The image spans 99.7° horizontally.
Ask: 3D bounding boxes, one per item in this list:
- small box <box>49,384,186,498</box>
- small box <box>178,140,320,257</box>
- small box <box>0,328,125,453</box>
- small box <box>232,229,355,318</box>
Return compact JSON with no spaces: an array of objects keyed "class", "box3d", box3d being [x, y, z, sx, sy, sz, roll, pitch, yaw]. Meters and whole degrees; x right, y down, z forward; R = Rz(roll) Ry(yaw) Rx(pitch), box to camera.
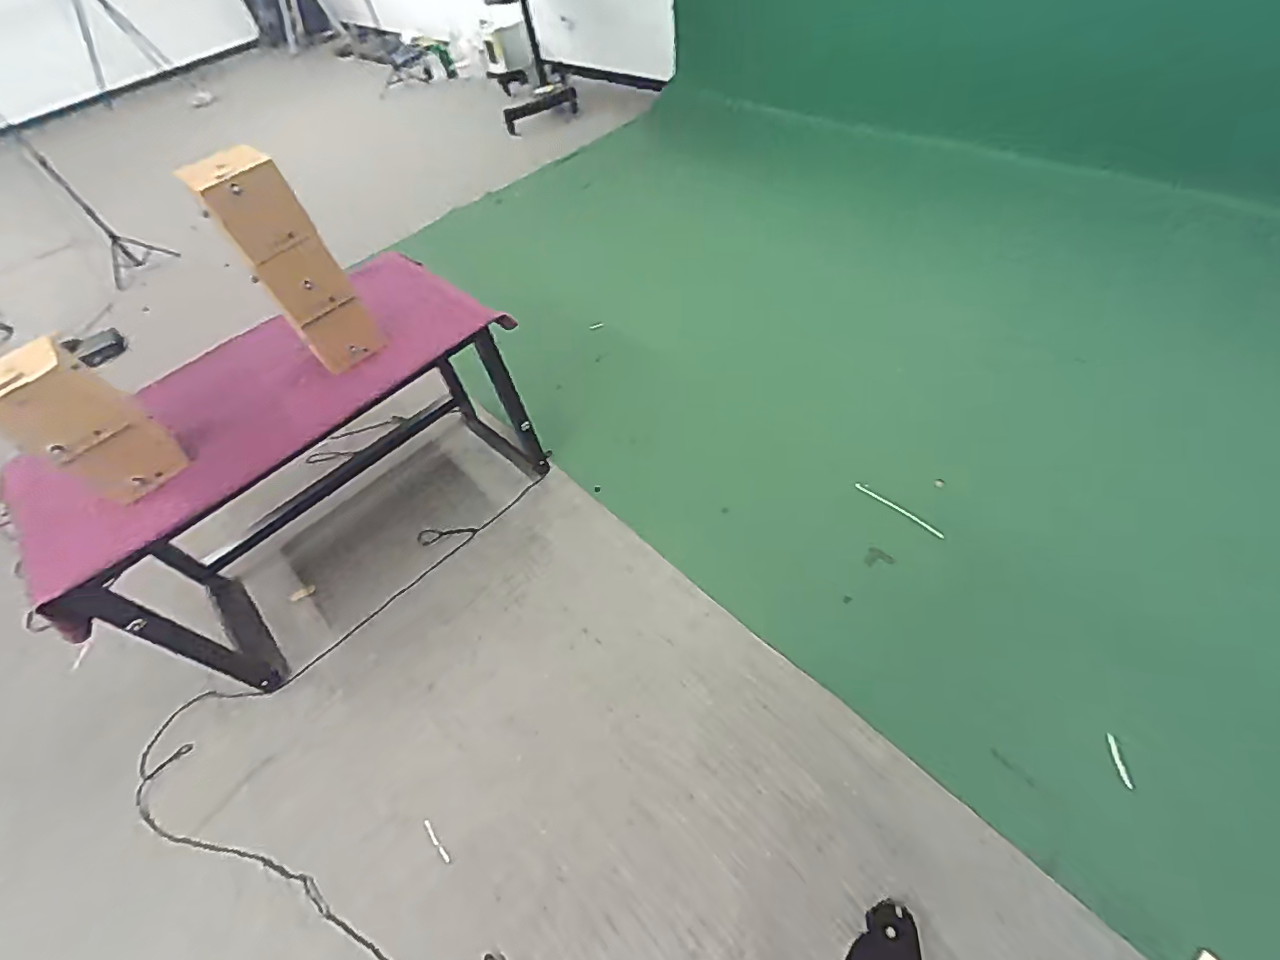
[{"class":"small box","box3d":[-1.230,-0.088,1.272,0.168,0.176,0.179,-41,57,-21]},{"class":"small box","box3d":[-0.867,-0.628,1.209,0.179,0.176,0.168,35,66,31]},{"class":"small box","box3d":[-1.246,-0.181,1.138,0.168,0.176,0.179,-41,56,-20]},{"class":"small box","box3d":[-0.847,-0.526,1.336,0.168,0.176,0.179,-40,57,-21]}]
